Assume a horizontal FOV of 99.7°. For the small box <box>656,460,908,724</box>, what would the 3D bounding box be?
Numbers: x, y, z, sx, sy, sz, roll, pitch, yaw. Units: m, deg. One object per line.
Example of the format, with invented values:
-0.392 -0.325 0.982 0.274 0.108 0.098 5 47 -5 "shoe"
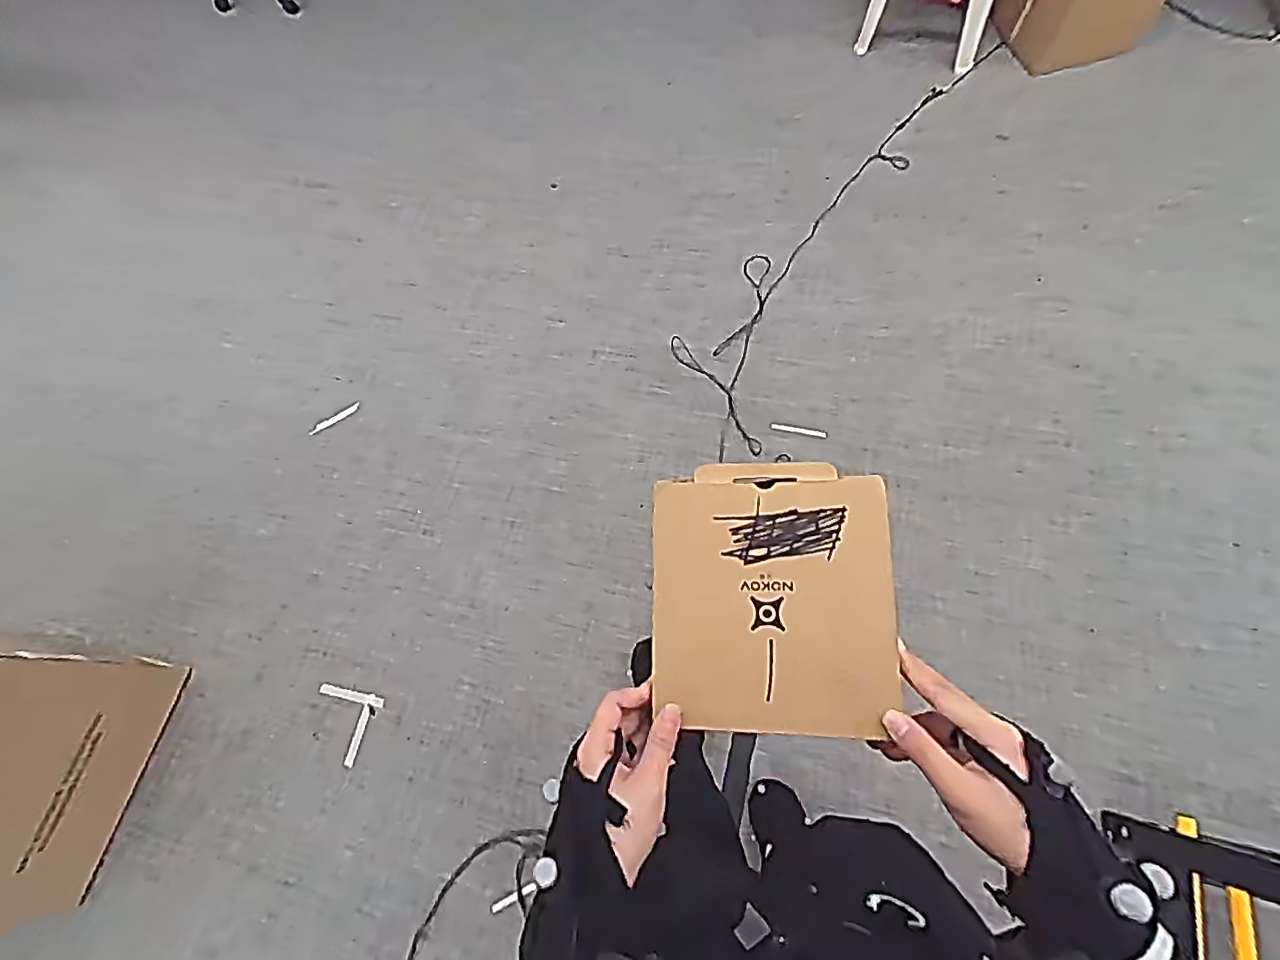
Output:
0.108 0.088 0.452 0.168 0.176 0.179 -1 78 11 "small box"
